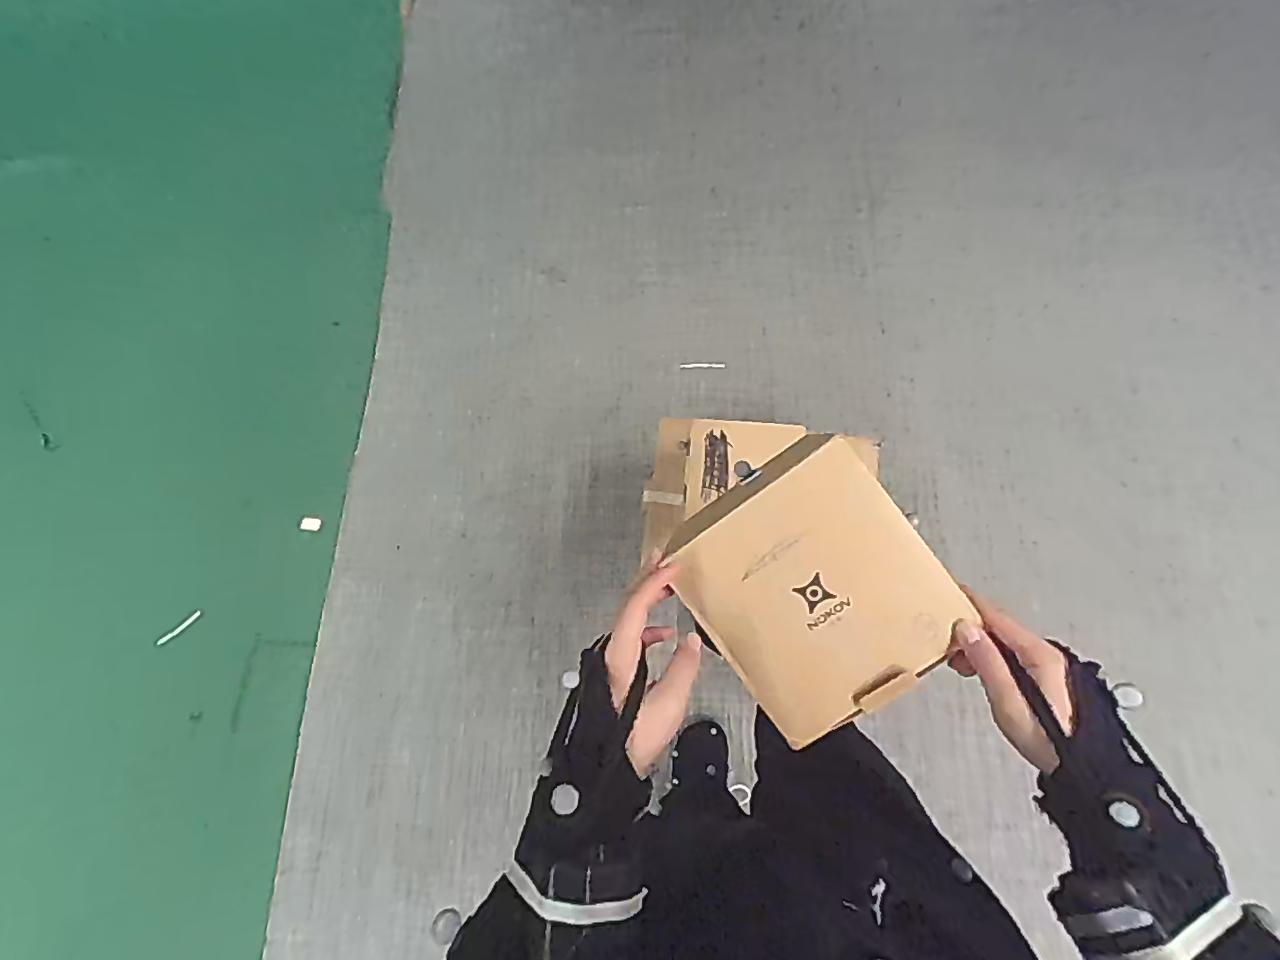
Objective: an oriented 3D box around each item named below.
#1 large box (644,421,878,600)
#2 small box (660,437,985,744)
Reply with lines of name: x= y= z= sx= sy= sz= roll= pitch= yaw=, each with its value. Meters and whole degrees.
large box: x=0.224 y=0.095 z=1.104 sx=0.408 sy=0.320 sz=0.320 roll=7 pitch=76 yaw=4
small box: x=0.141 y=0.077 z=0.471 sx=0.168 sy=0.176 sz=0.179 roll=-38 pitch=87 yaw=8
